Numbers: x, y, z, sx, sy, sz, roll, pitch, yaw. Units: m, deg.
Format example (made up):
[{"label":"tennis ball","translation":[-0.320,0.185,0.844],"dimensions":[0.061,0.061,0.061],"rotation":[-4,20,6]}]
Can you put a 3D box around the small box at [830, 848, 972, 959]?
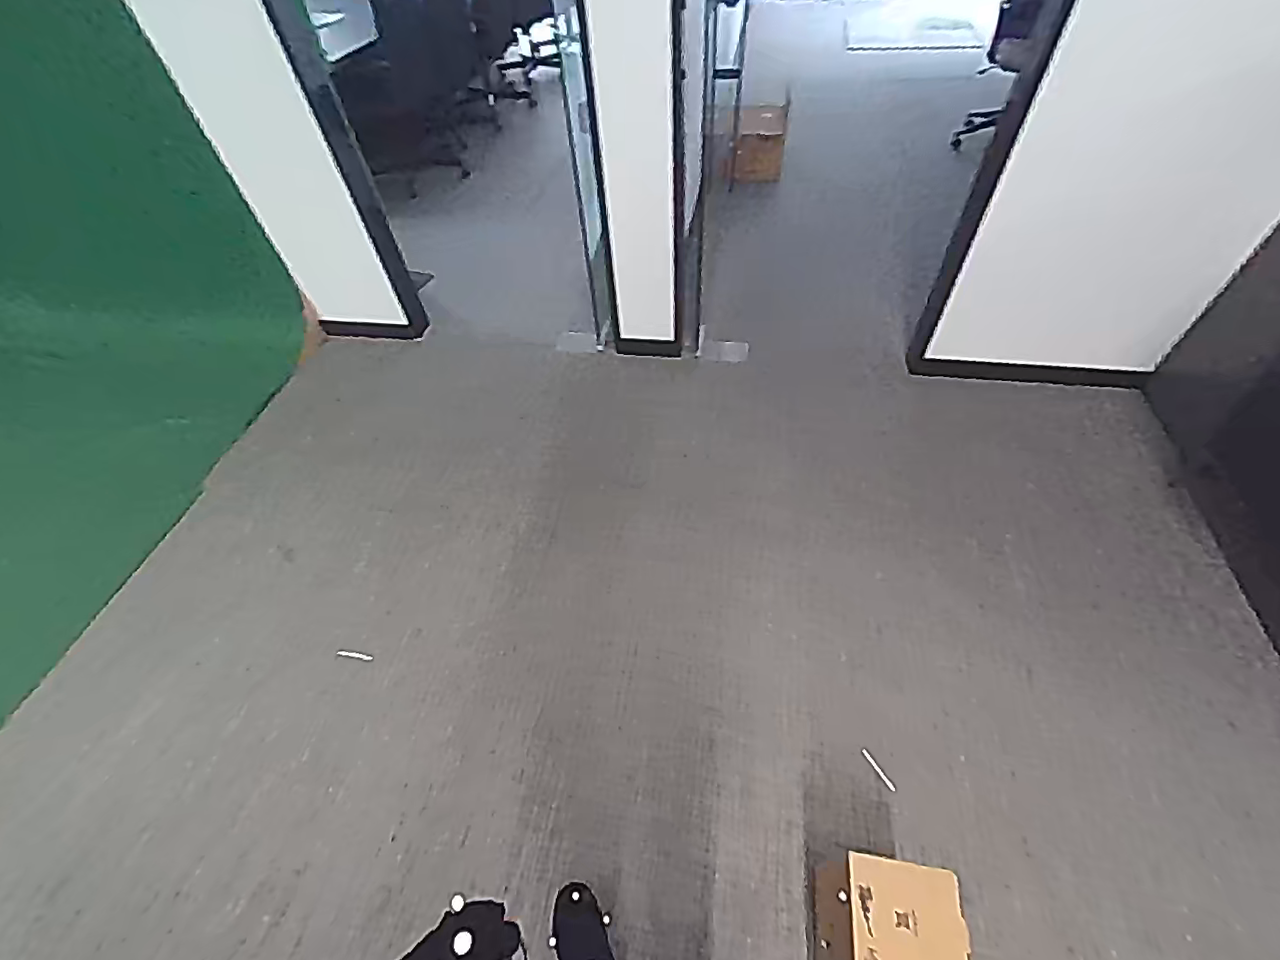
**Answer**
[{"label":"small box","translation":[0.436,0.753,0.928],"dimensions":[0.179,0.176,0.168],"rotation":[7,51,8]}]
